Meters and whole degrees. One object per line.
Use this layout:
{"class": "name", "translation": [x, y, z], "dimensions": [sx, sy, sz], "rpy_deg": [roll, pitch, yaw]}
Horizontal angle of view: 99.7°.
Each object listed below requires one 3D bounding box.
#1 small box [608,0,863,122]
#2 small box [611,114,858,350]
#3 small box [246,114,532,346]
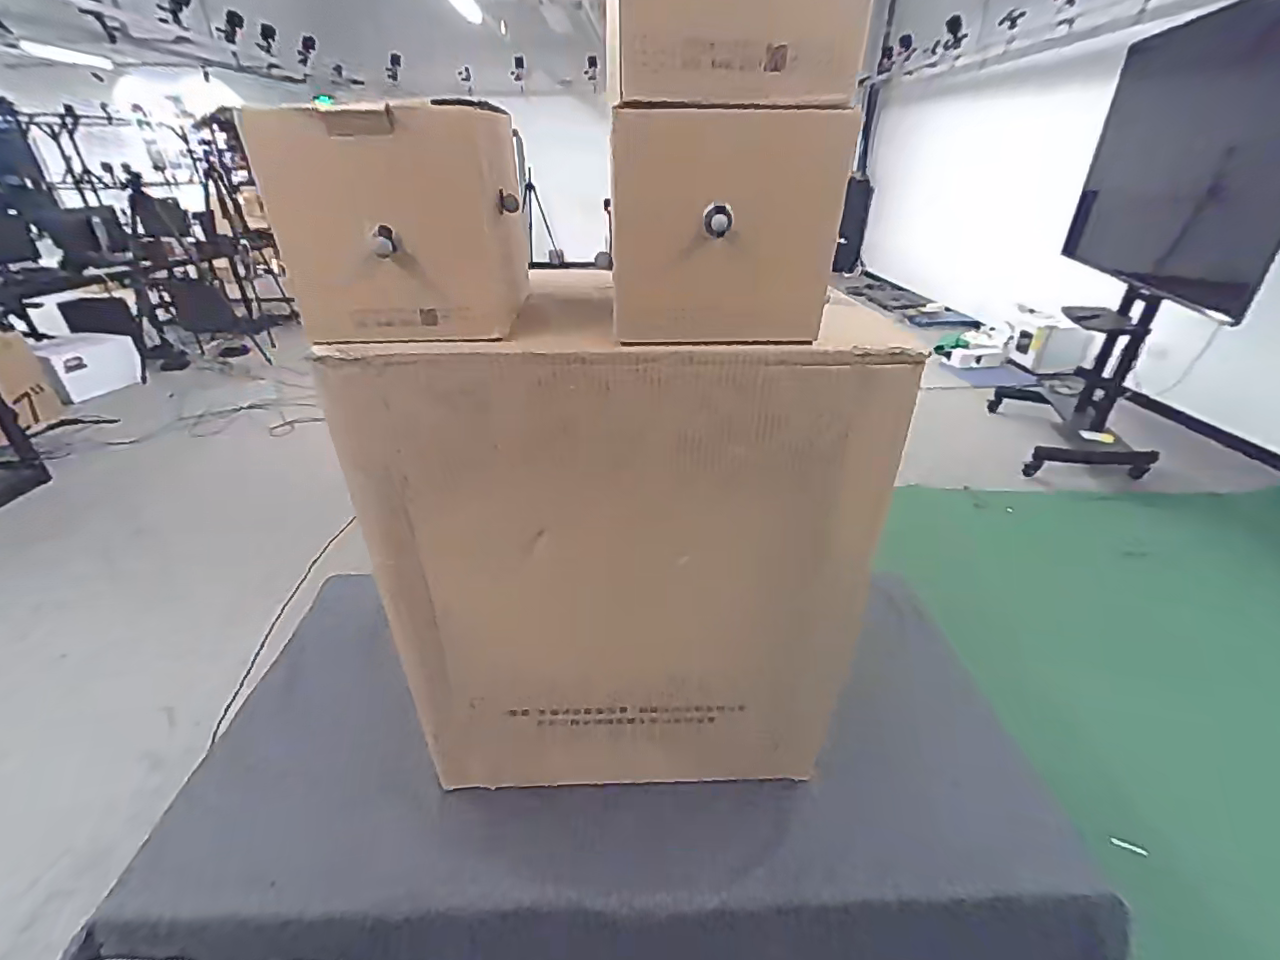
{"class": "small box", "translation": [0.061, -0.363, 0.405], "dimensions": [0.168, 0.176, 0.179], "rpy_deg": [-1, 30, -6]}
{"class": "small box", "translation": [0.064, -0.221, 0.483], "dimensions": [0.179, 0.176, 0.168], "rpy_deg": [-1, 32, -1]}
{"class": "small box", "translation": [-0.196, -0.227, 0.491], "dimensions": [0.168, 0.176, 0.179], "rpy_deg": [-1, 33, -2]}
